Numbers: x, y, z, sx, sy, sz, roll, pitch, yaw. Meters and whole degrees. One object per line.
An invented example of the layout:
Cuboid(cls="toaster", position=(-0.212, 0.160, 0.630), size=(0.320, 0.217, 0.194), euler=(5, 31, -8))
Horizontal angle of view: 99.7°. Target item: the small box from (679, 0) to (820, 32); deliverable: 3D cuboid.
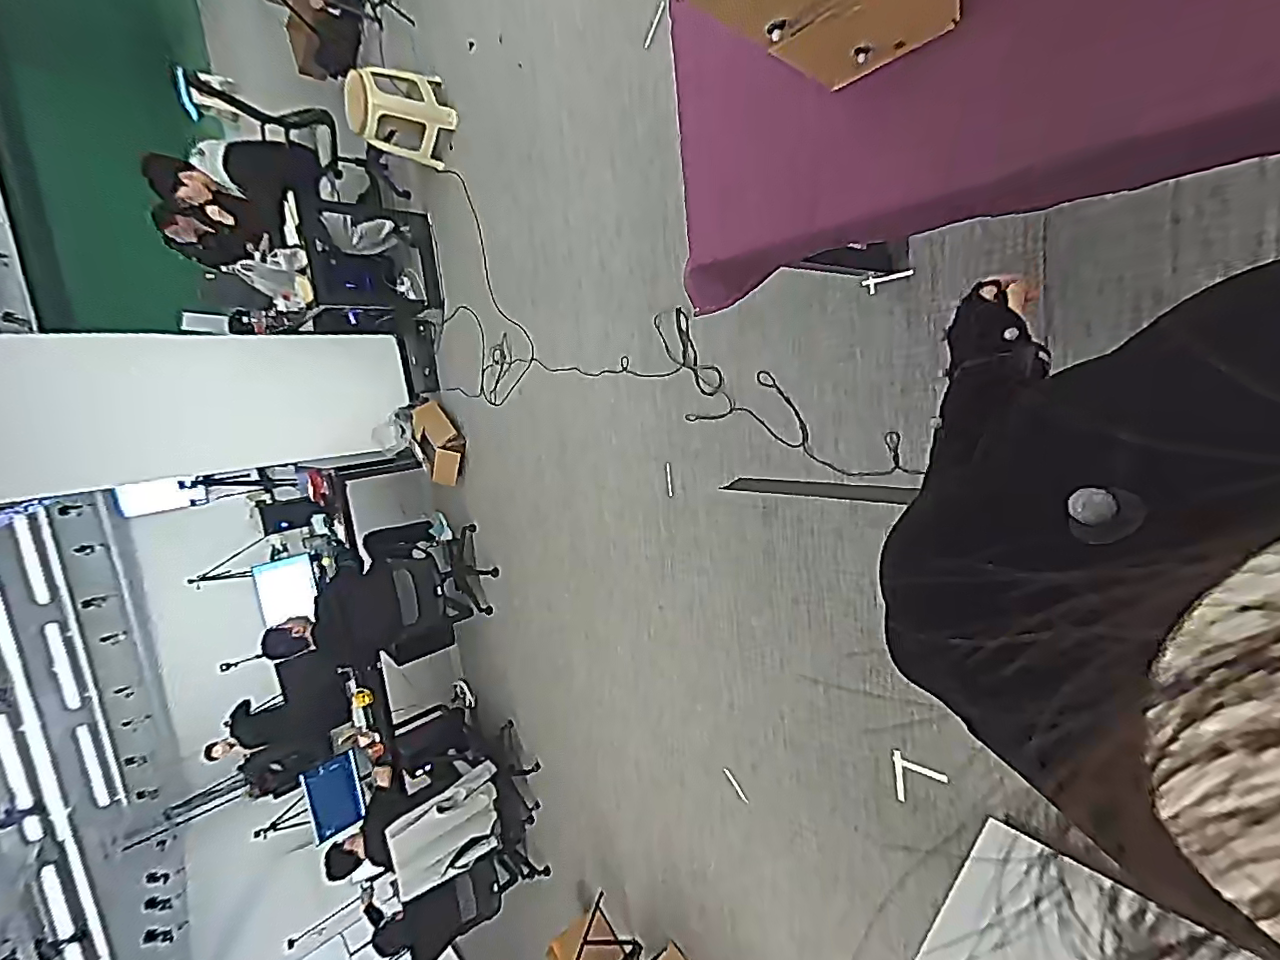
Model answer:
Cuboid(cls="small box", position=(0.136, -0.595, 0.537), size=(0.168, 0.176, 0.179), euler=(1, 102, 47))

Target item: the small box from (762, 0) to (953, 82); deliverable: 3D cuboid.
Cuboid(cls="small box", position=(0.257, -0.626, 0.644), size=(0.168, 0.176, 0.179), euler=(3, 104, 47))
